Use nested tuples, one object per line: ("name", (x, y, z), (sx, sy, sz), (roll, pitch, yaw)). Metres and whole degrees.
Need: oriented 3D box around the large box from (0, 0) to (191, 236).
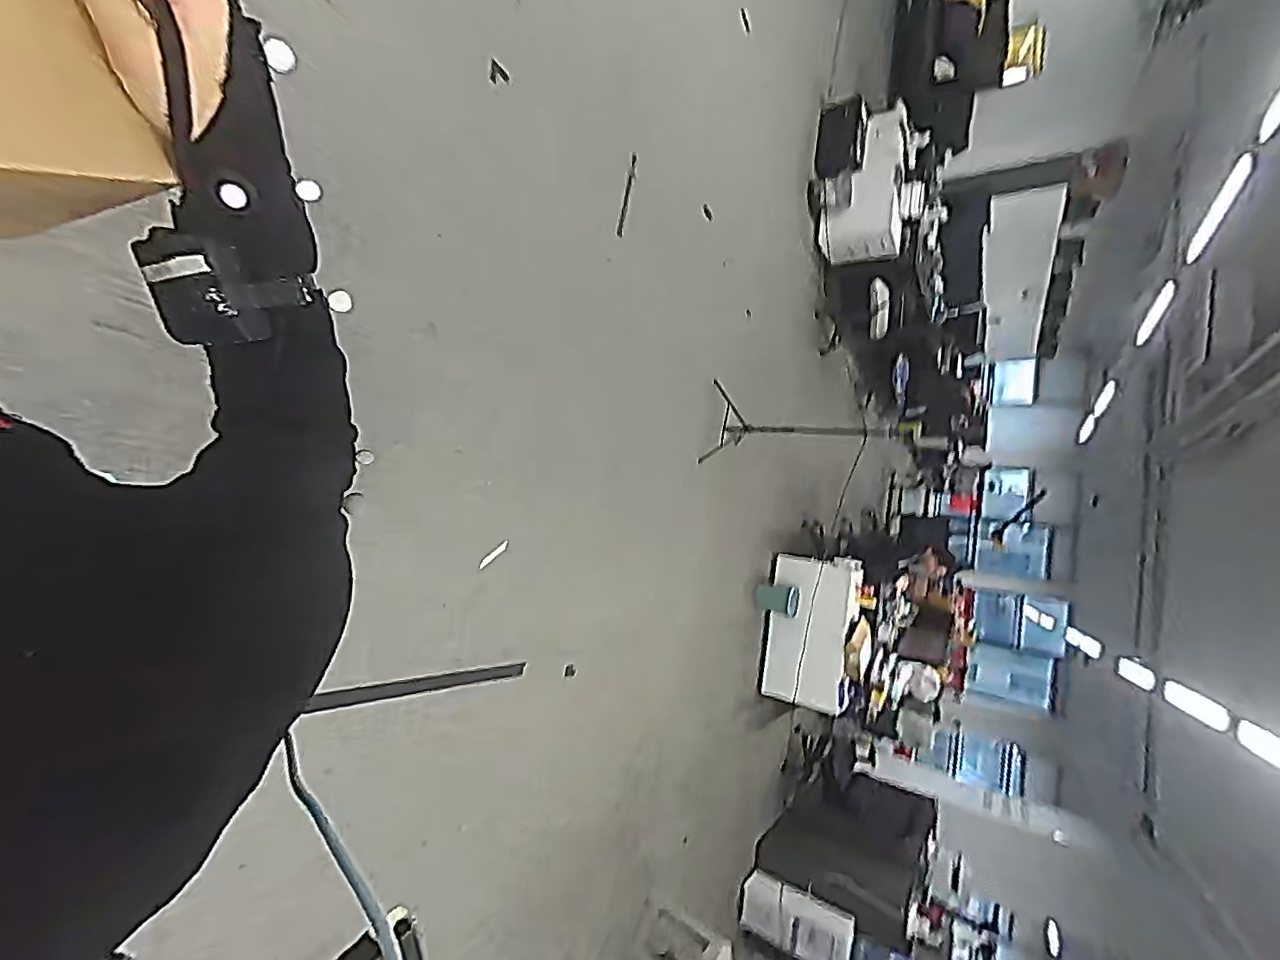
("large box", (-0.495, -0.265, 0.176), (0.408, 0.320, 0.320), (-33, 126, -54))
